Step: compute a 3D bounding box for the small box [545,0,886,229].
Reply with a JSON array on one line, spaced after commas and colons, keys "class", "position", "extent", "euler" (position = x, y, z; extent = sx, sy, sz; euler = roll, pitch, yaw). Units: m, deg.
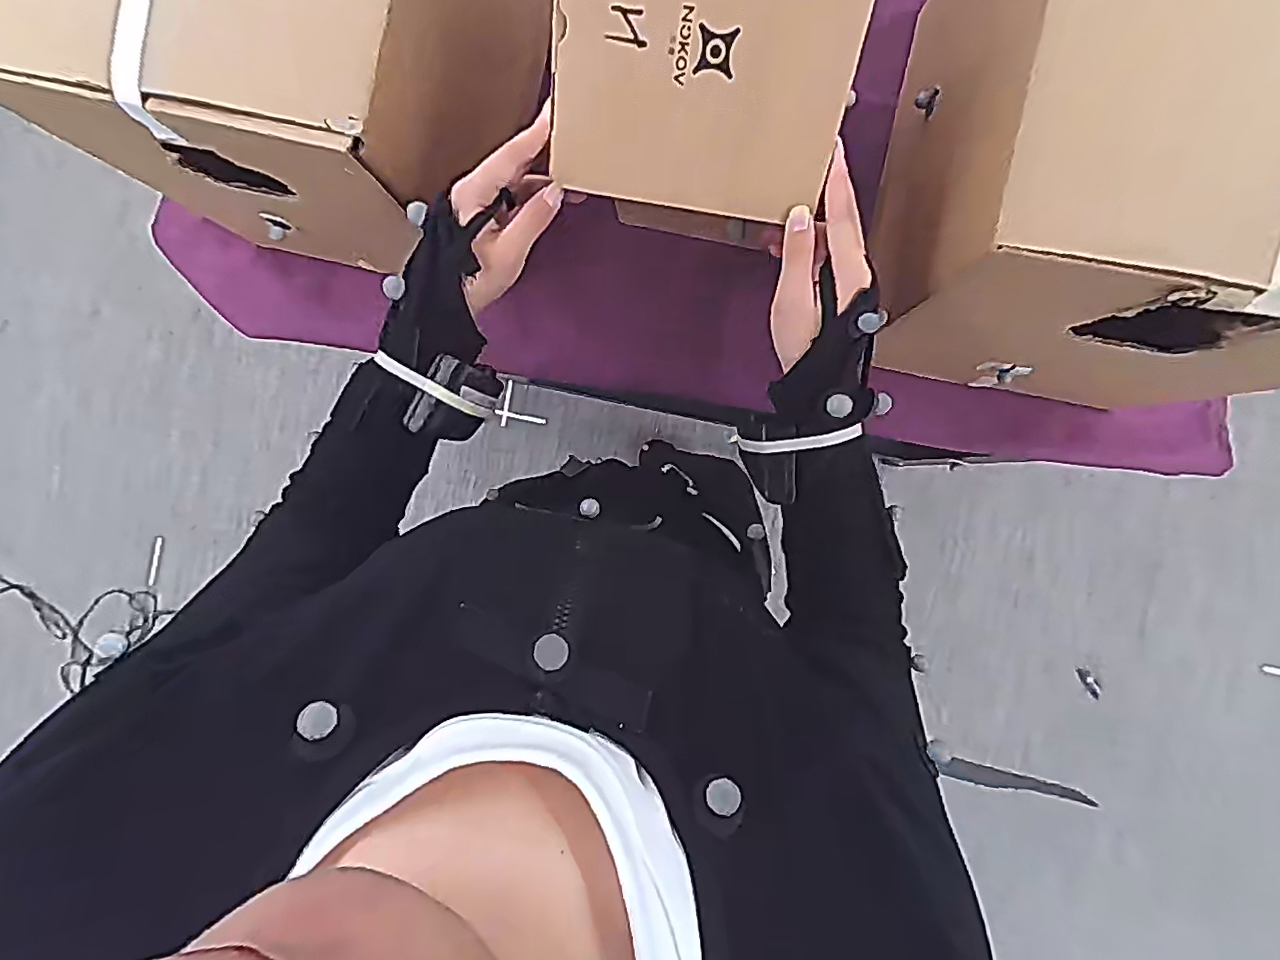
[{"class": "small box", "position": [0.049, -0.282, 0.364], "extent": [0.179, 0.176, 0.168], "euler": [13, 122, 3]}]

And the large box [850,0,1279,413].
[{"class": "large box", "position": [0.405, -0.293, 0.451], "extent": [0.320, 0.320, 0.408], "euler": [12, 90, 3]}]
